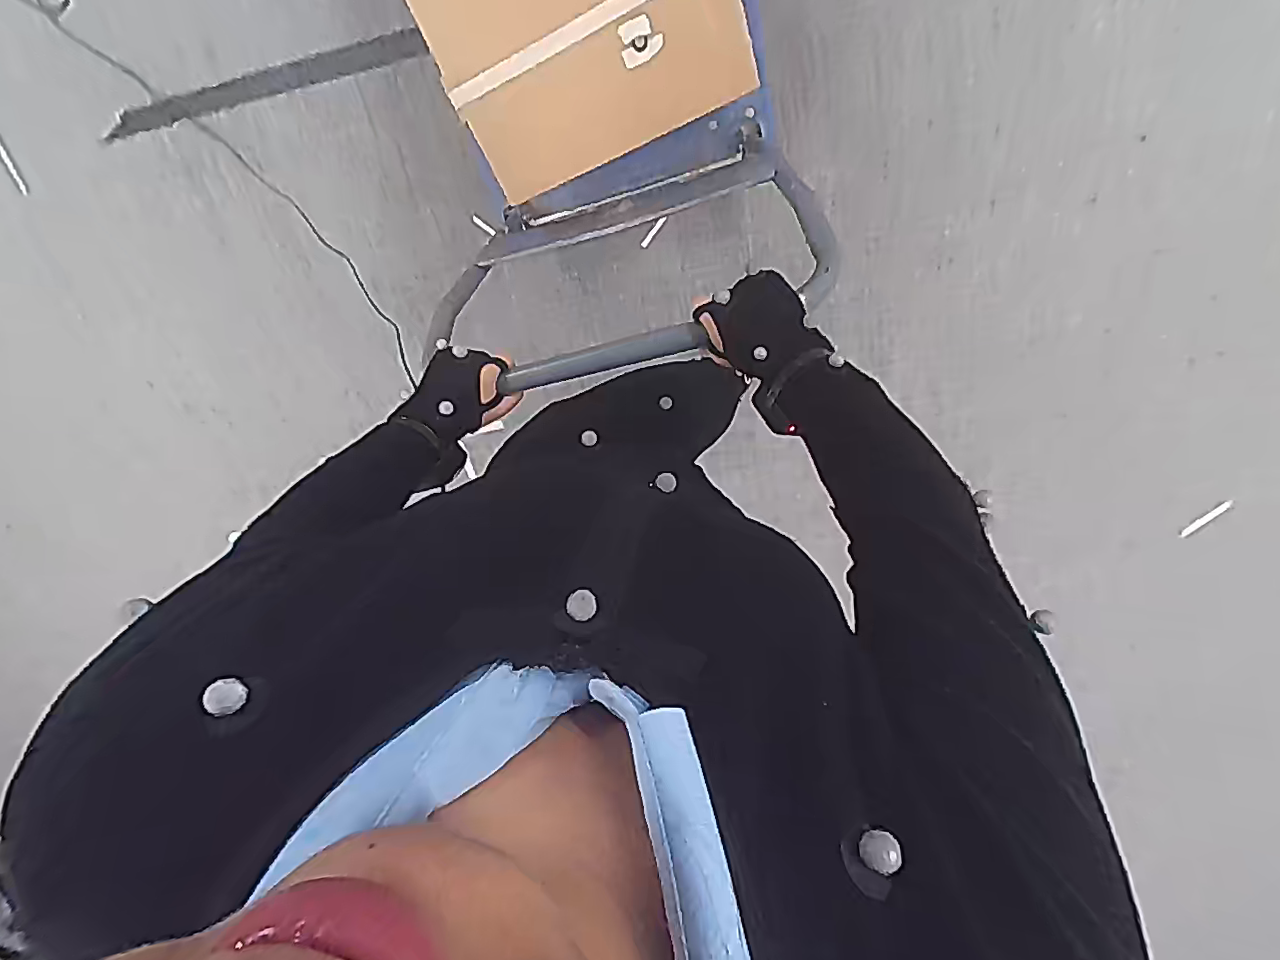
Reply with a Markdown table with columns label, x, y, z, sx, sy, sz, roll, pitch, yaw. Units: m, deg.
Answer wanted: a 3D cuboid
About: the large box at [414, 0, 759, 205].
| label | x | y | z | sx | sy | sz | roll | pitch | yaw |
| --- | --- | --- | --- | --- | --- | --- | --- | --- | --- |
| large box | -0.067 | -0.698 | 0.851 | 0.408 | 0.320 | 0.320 | -18 | 125 | 15 |
